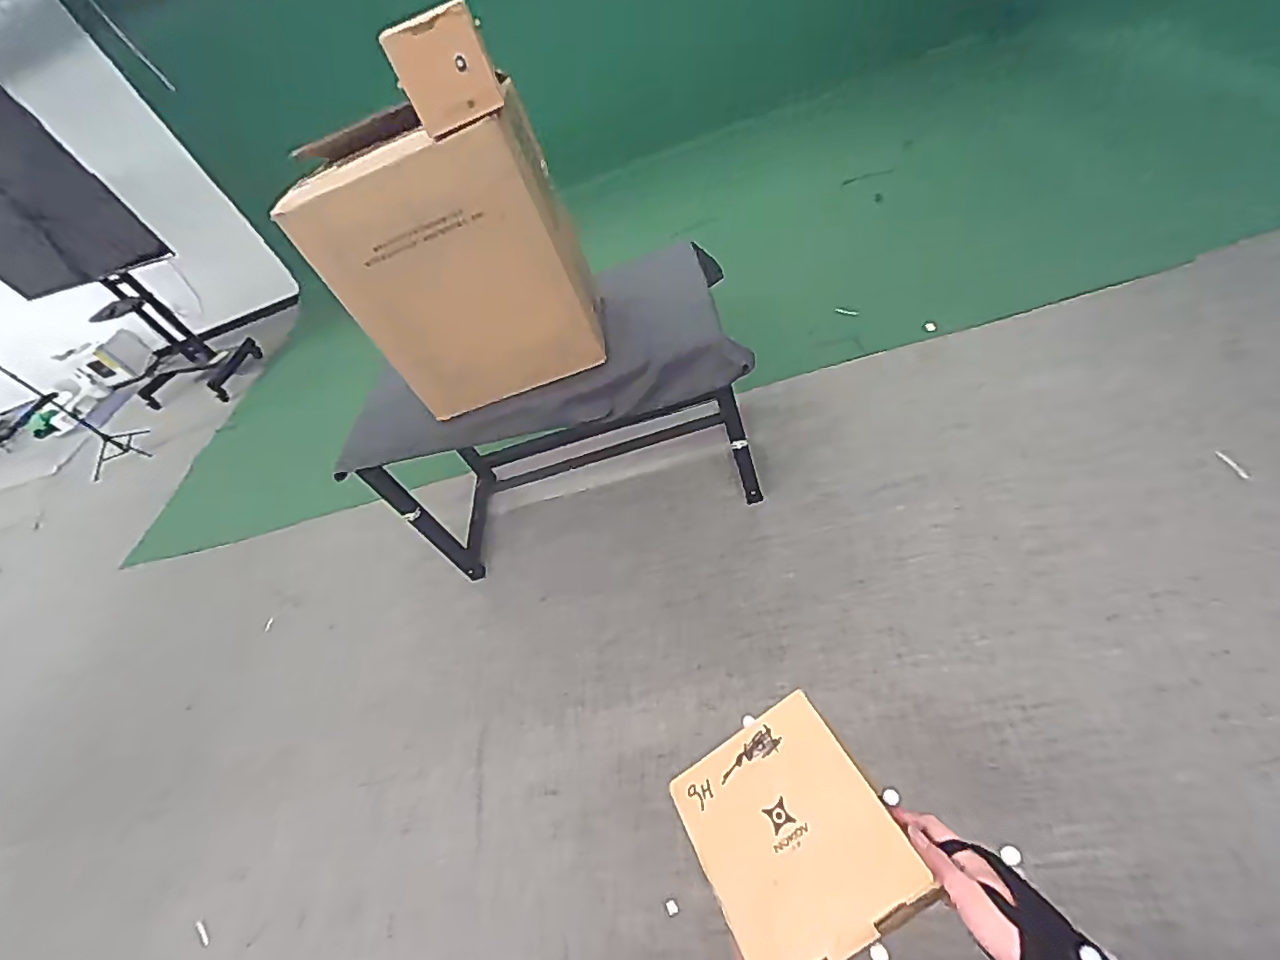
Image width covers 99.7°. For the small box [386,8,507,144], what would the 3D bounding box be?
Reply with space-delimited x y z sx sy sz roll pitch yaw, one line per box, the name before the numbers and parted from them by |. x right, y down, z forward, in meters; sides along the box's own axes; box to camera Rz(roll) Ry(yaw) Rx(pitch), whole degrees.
small box | -0.377 -0.804 1.085 0.168 0.176 0.179 -21 44 3

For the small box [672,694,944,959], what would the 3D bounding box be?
small box | 0.166 0.347 0.528 0.168 0.176 0.179 -38 45 3
